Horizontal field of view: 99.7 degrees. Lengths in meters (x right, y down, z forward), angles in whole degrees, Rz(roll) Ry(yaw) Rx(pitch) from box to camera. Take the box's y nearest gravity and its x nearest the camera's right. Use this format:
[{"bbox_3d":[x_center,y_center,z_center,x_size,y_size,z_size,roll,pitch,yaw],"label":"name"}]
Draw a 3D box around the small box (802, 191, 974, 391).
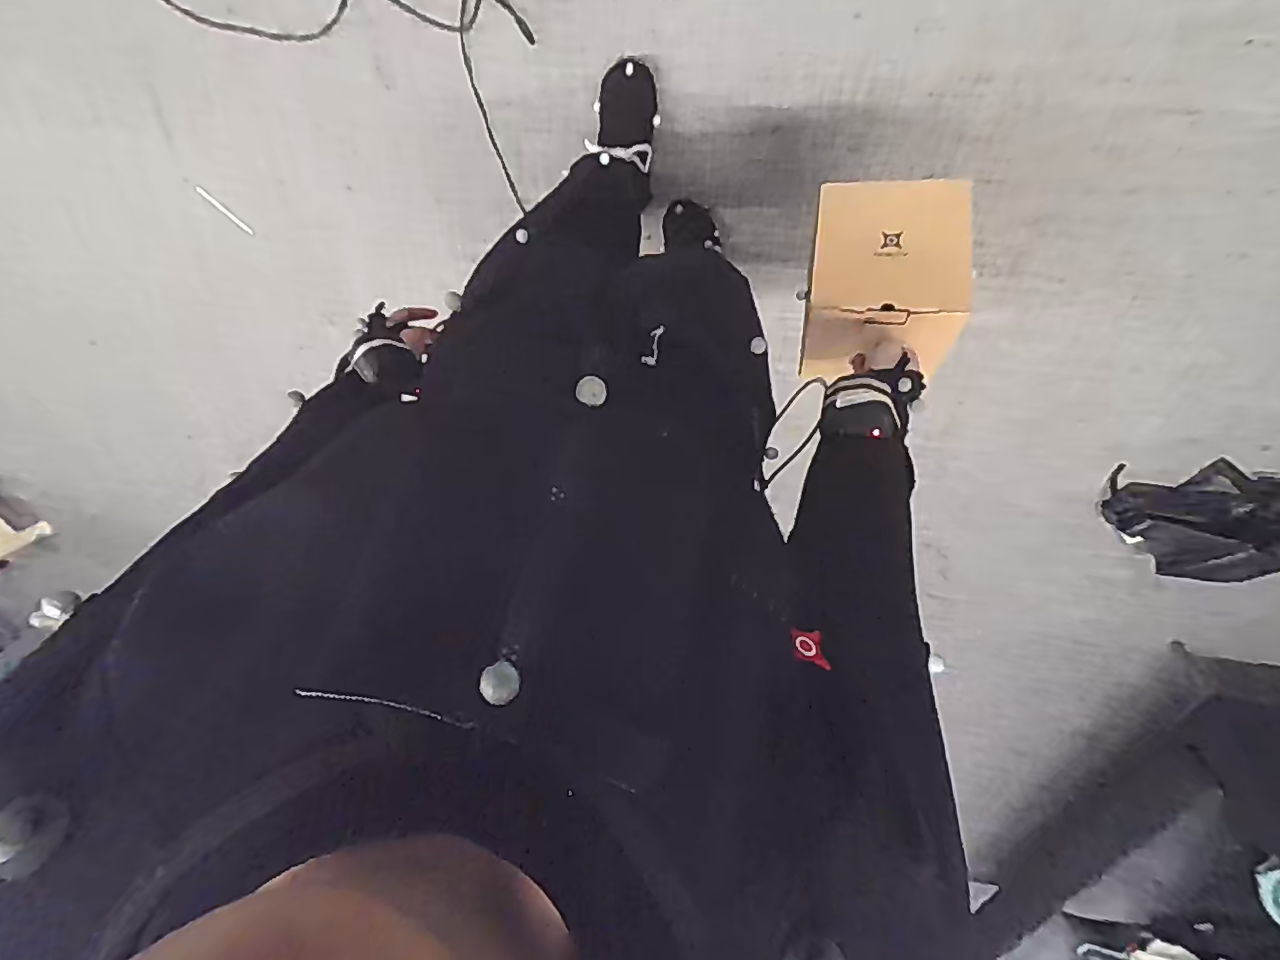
[{"bbox_3d":[0.302,-0.234,0.689,0.168,0.179,0.176,5,164,13],"label":"small box"}]
